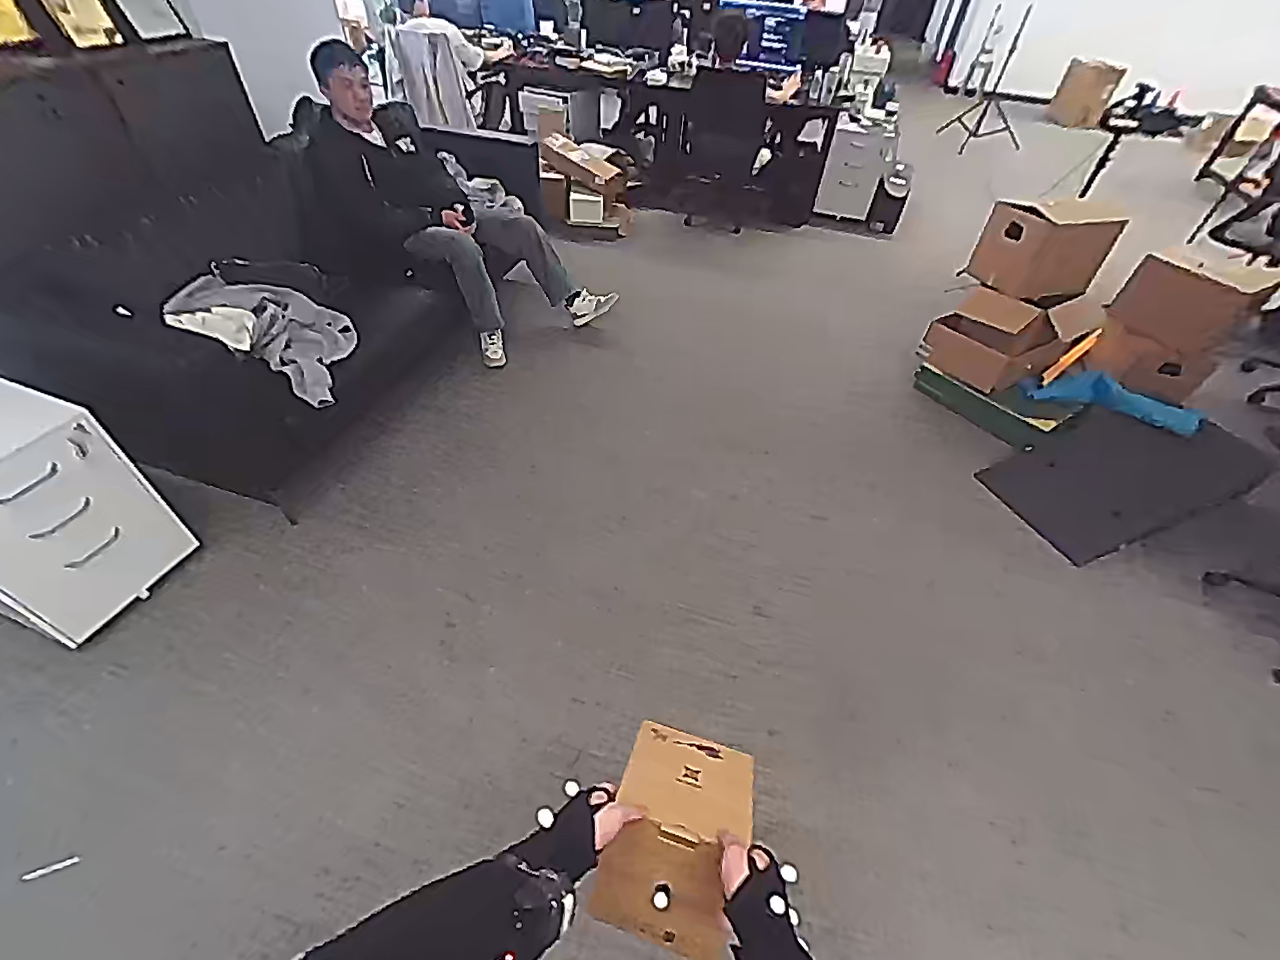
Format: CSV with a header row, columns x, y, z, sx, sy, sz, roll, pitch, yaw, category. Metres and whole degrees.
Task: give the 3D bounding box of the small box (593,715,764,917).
x,y,z,sx,sy,sz,roll,pitch,yaw,category
0.040,0.450,0.740,0.179,0.176,0.168,7,13,-20,small box
